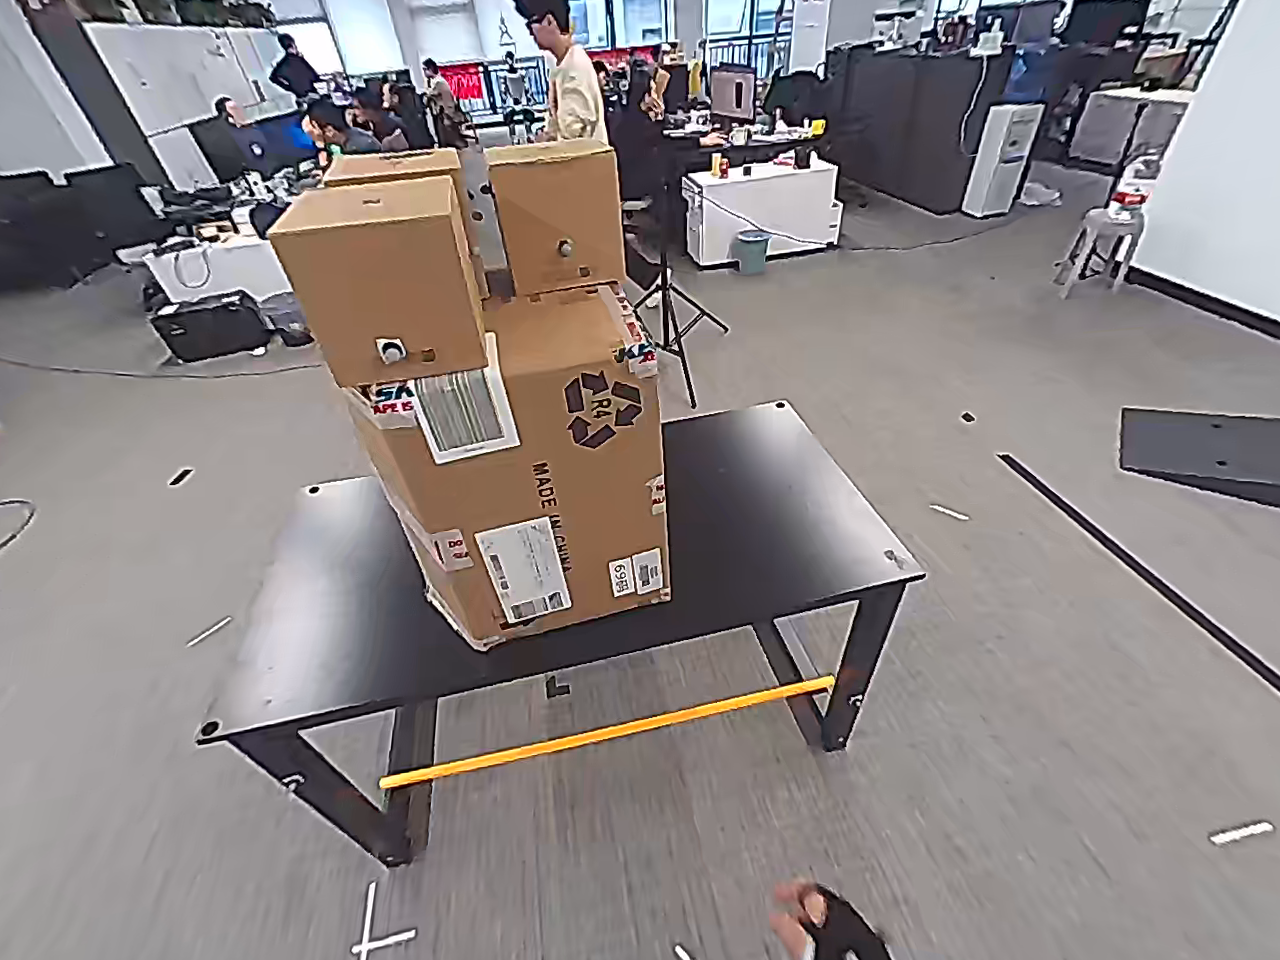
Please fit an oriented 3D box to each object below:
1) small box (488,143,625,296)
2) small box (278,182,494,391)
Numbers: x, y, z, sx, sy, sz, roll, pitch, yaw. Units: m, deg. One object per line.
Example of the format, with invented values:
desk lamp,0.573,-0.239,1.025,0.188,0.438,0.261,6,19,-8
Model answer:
small box,-0.124,-0.390,0.806,0.168,0.176,0.179,-13,39,-9
small box,-0.271,-0.224,0.619,0.168,0.176,0.179,-12,42,-10
